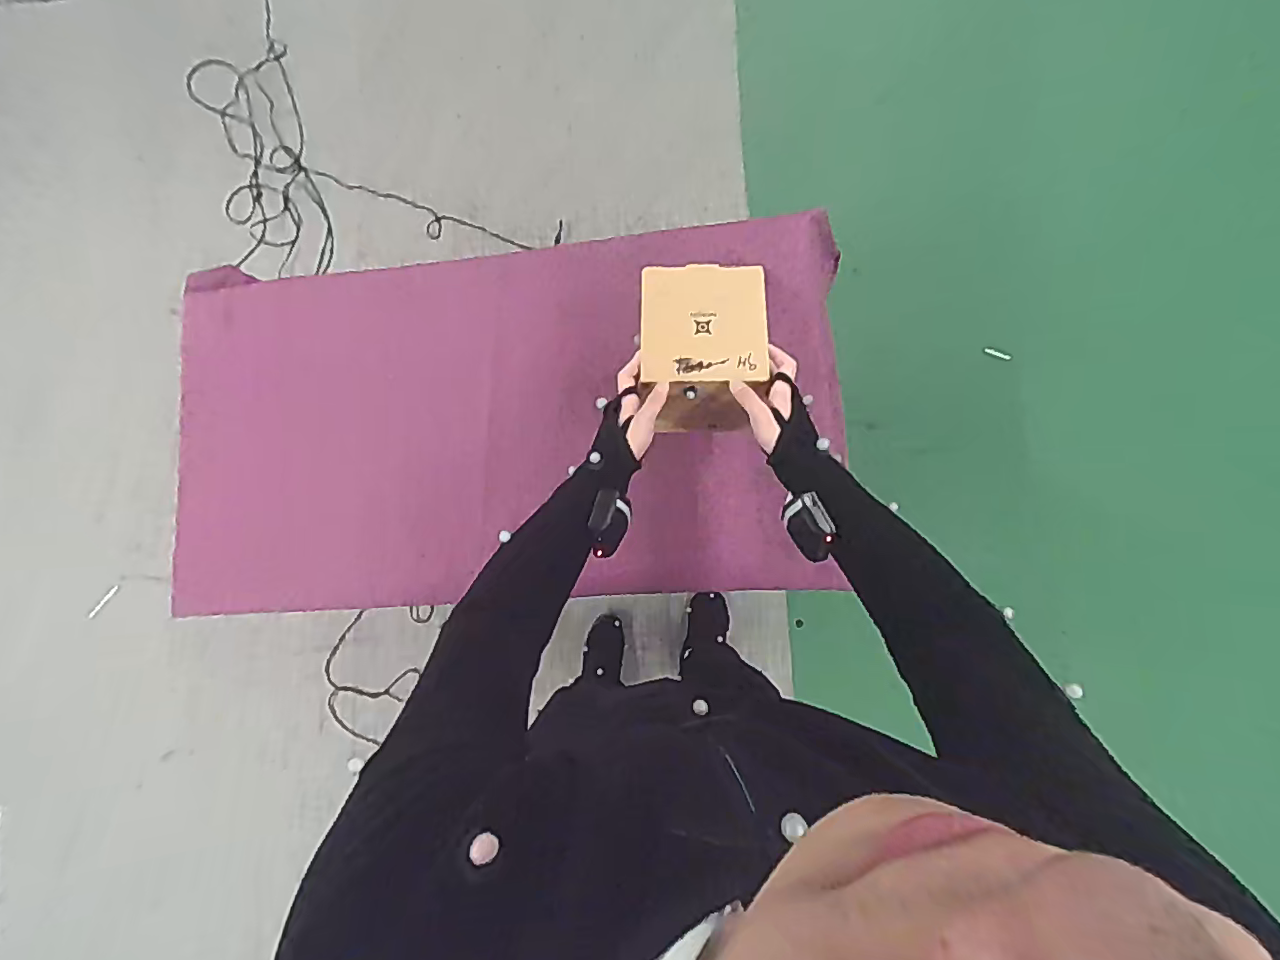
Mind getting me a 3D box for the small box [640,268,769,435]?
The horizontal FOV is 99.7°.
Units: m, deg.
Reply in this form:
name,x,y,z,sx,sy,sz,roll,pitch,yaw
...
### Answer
name,x,y,z,sx,sy,sz,roll,pitch,yaw
small box,0.087,-0.178,0.778,0.168,0.176,0.179,1,73,3
